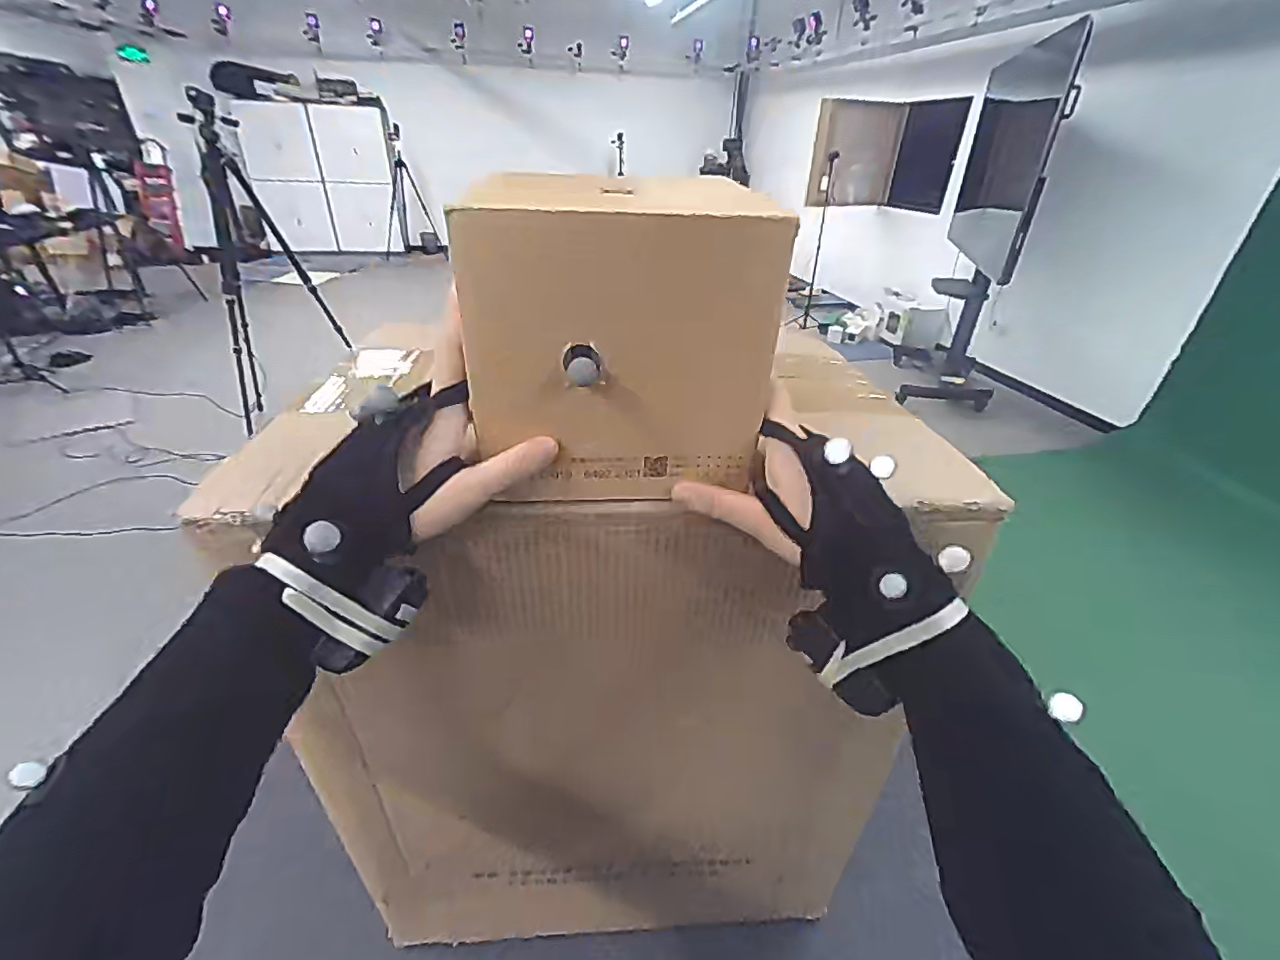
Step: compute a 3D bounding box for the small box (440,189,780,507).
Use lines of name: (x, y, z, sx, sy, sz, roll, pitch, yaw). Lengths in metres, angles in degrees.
small box: (-0.019, -0.093, 0.366, 0.168, 0.176, 0.179, -1, 34, -5)
